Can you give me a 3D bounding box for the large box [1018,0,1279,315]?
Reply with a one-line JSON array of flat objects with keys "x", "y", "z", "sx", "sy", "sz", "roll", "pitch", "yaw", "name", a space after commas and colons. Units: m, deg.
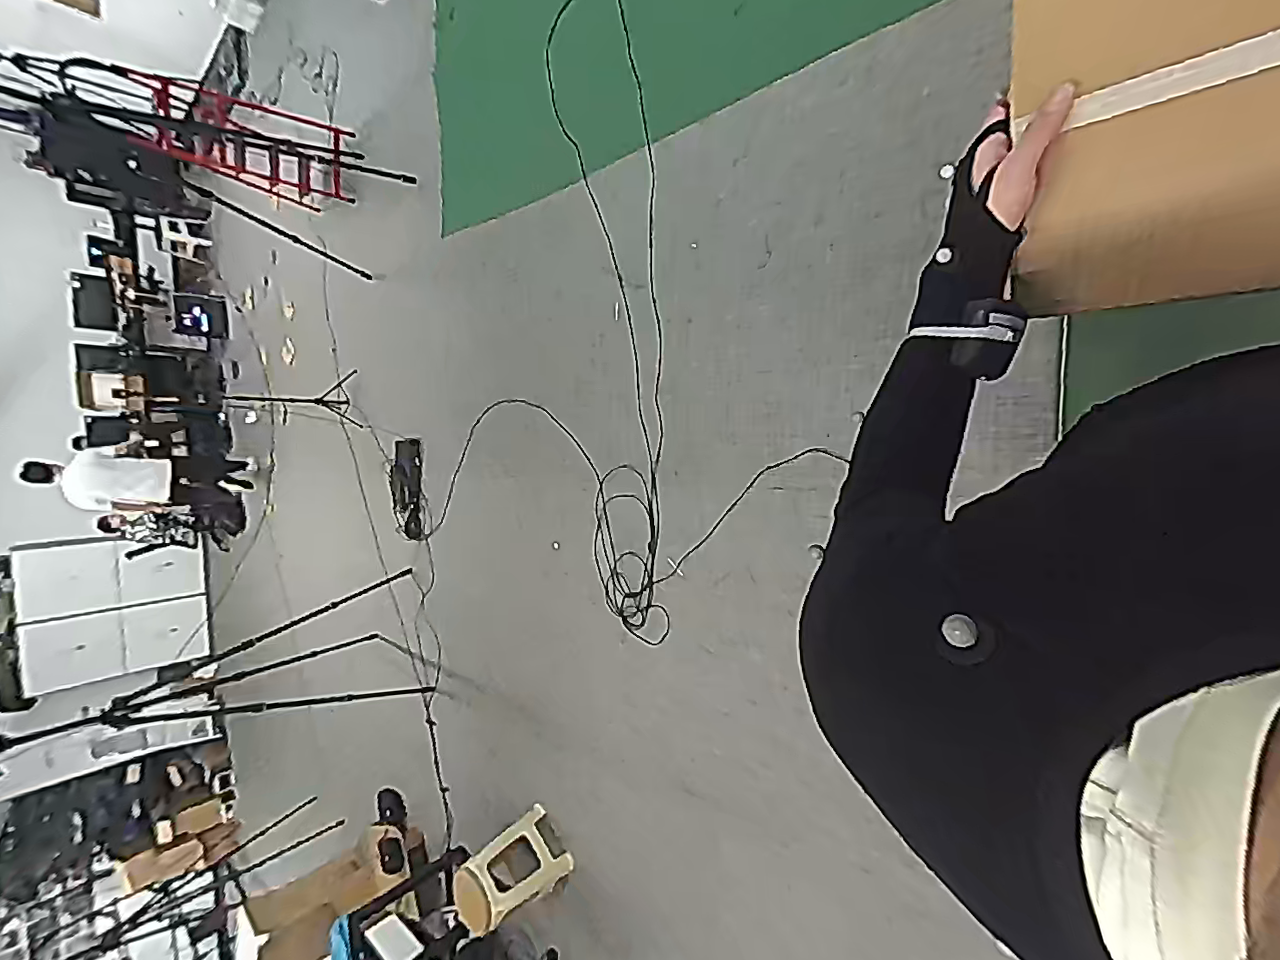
[{"x": 0.576, "y": -0.332, "z": 0.440, "sx": 0.408, "sy": 0.320, "sz": 0.320, "roll": 4, "pitch": 109, "yaw": 44, "name": "large box"}]
